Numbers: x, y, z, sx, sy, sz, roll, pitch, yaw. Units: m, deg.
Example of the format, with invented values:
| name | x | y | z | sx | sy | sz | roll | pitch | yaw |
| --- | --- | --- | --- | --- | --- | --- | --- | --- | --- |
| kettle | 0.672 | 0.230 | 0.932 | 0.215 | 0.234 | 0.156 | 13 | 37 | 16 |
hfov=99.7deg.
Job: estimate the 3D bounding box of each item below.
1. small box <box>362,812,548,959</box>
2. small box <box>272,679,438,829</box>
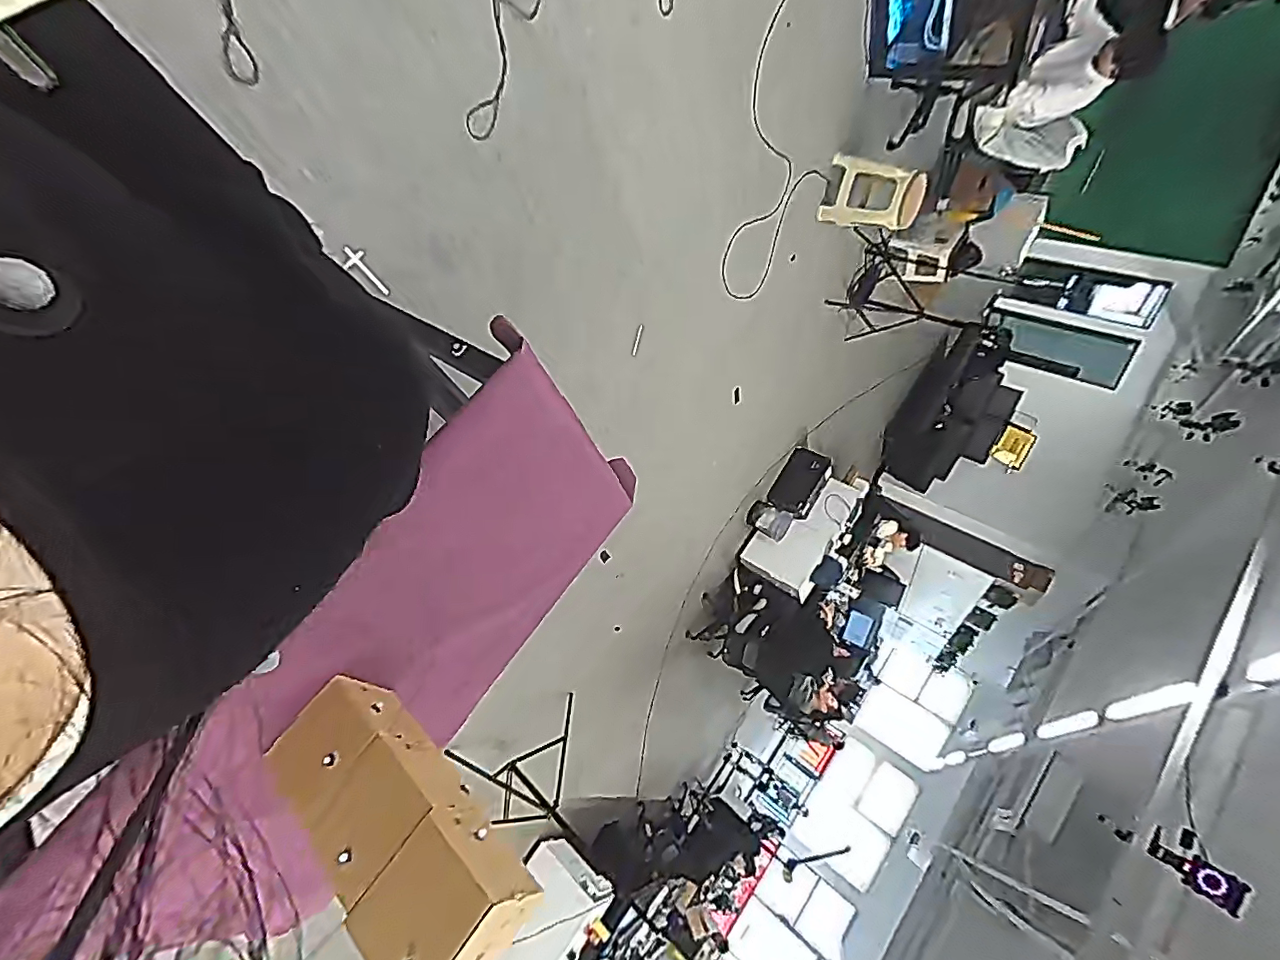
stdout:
| name | x | y | z | sx | sy | sz | roll | pitch | yaw |
| --- | --- | --- | --- | --- | --- | --- | --- | --- | --- |
| small box | -0.277 | 0.636 | 0.804 | 0.179 | 0.176 | 0.168 | -52 | 148 | -15 |
| small box | -0.516 | 0.493 | 0.981 | 0.179 | 0.176 | 0.168 | -51 | 146 | -15 |
